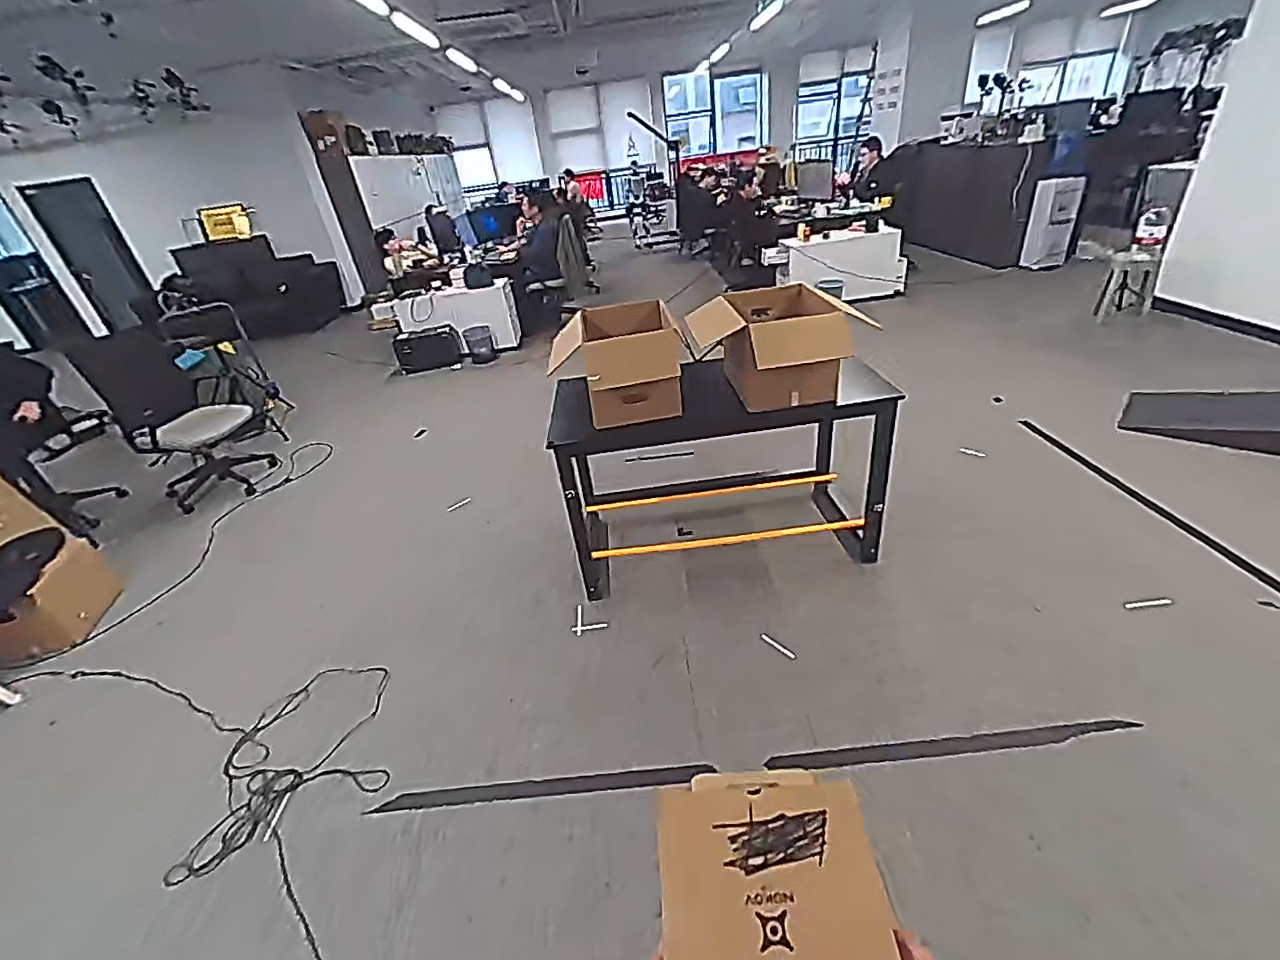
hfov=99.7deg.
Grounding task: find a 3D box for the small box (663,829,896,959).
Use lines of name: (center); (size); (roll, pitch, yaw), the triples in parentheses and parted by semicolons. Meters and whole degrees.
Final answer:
small box: (0.108, 0.407, 0.437); (0.168, 0.176, 0.179); (-6, 45, 3)
